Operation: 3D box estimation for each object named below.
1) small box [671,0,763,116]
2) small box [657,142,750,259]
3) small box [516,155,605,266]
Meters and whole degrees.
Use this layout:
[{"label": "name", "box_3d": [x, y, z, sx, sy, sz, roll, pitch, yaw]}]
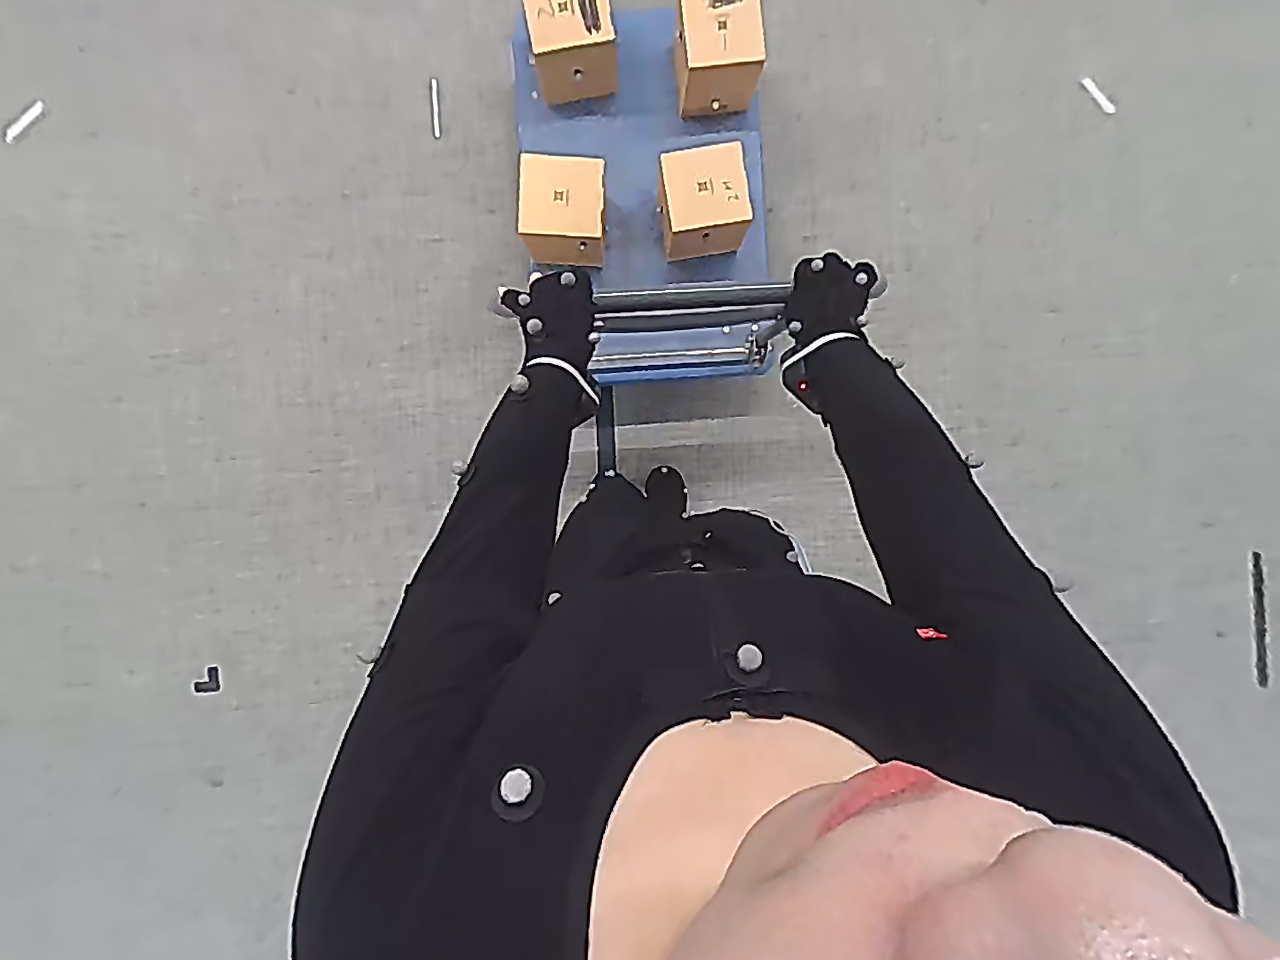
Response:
[{"label": "small box", "box_3d": [0.164, -0.950, 1.194, 0.168, 0.176, 0.179, -7, 93, -1]}, {"label": "small box", "box_3d": [0.134, -0.612, 1.205, 0.179, 0.176, 0.168, -9, 92, -1]}, {"label": "small box", "box_3d": [-0.170, -0.589, 1.200, 0.179, 0.176, 0.168, 2, 92, -3]}]
